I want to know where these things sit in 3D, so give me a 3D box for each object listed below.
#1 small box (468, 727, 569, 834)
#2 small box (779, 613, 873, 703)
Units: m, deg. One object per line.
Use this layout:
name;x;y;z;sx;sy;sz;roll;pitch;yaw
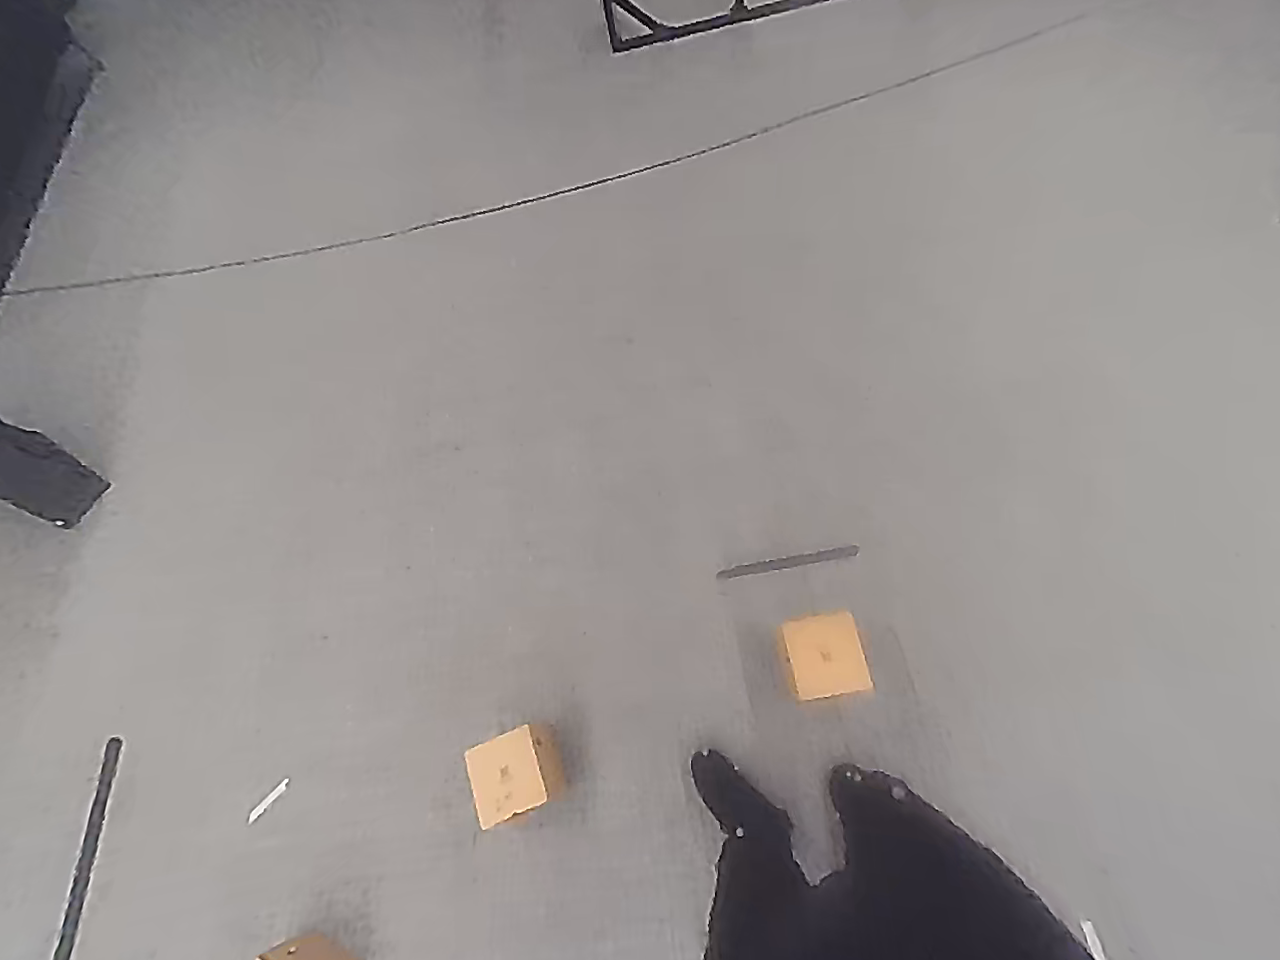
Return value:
small box;-0.291;0.721;1.314;0.168;0.176;0.179;-24;66;-1
small box;0.442;0.435;1.311;0.168;0.176;0.179;-13;65;5
